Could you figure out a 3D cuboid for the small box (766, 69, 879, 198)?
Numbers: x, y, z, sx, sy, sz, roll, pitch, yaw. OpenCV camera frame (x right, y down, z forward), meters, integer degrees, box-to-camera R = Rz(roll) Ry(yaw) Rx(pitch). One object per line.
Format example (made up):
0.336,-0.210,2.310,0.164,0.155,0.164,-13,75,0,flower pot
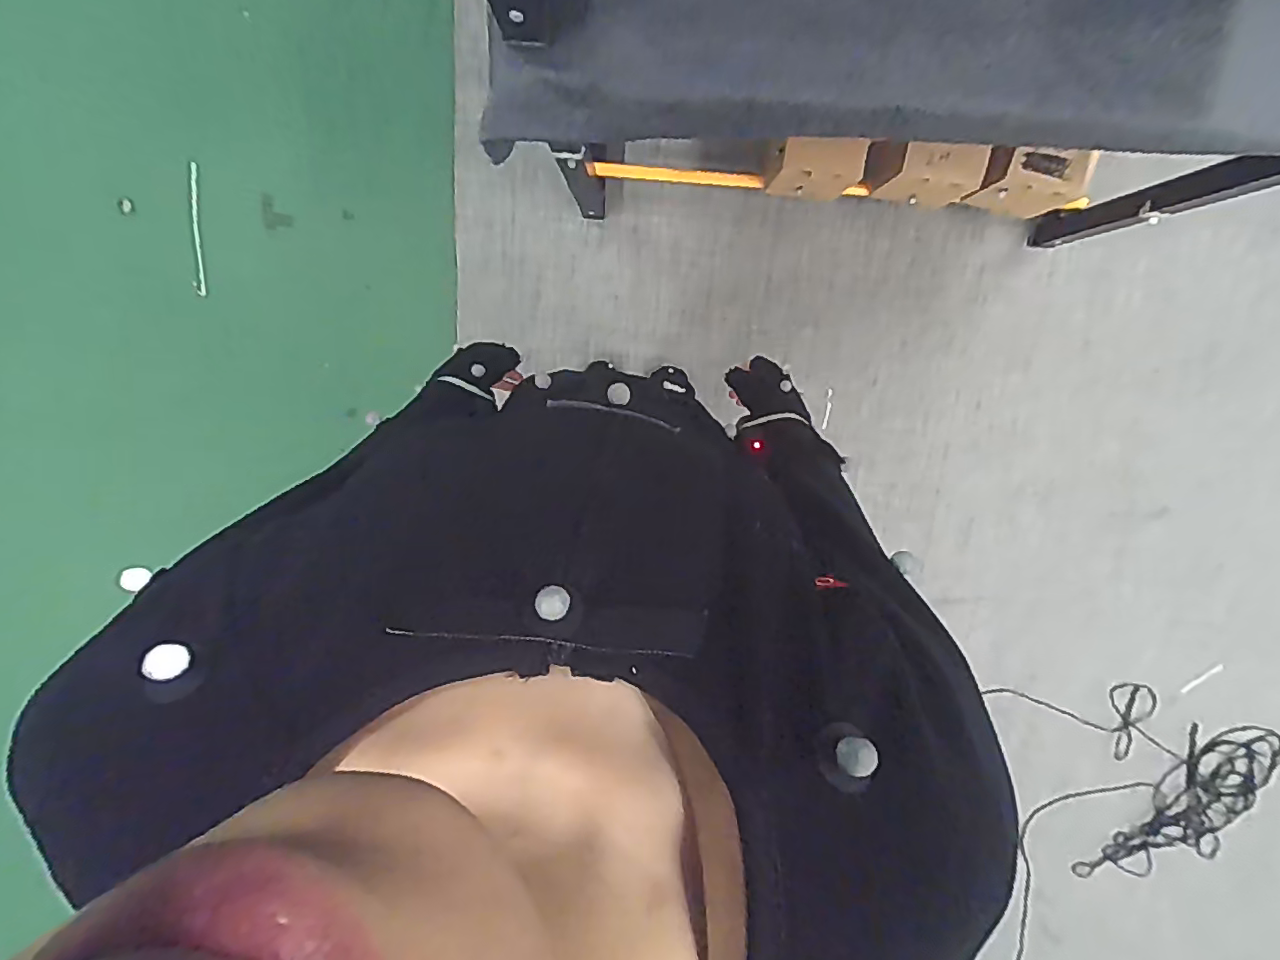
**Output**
0.371,-0.715,1.132,0.168,0.176,0.179,6,105,-1,small box
